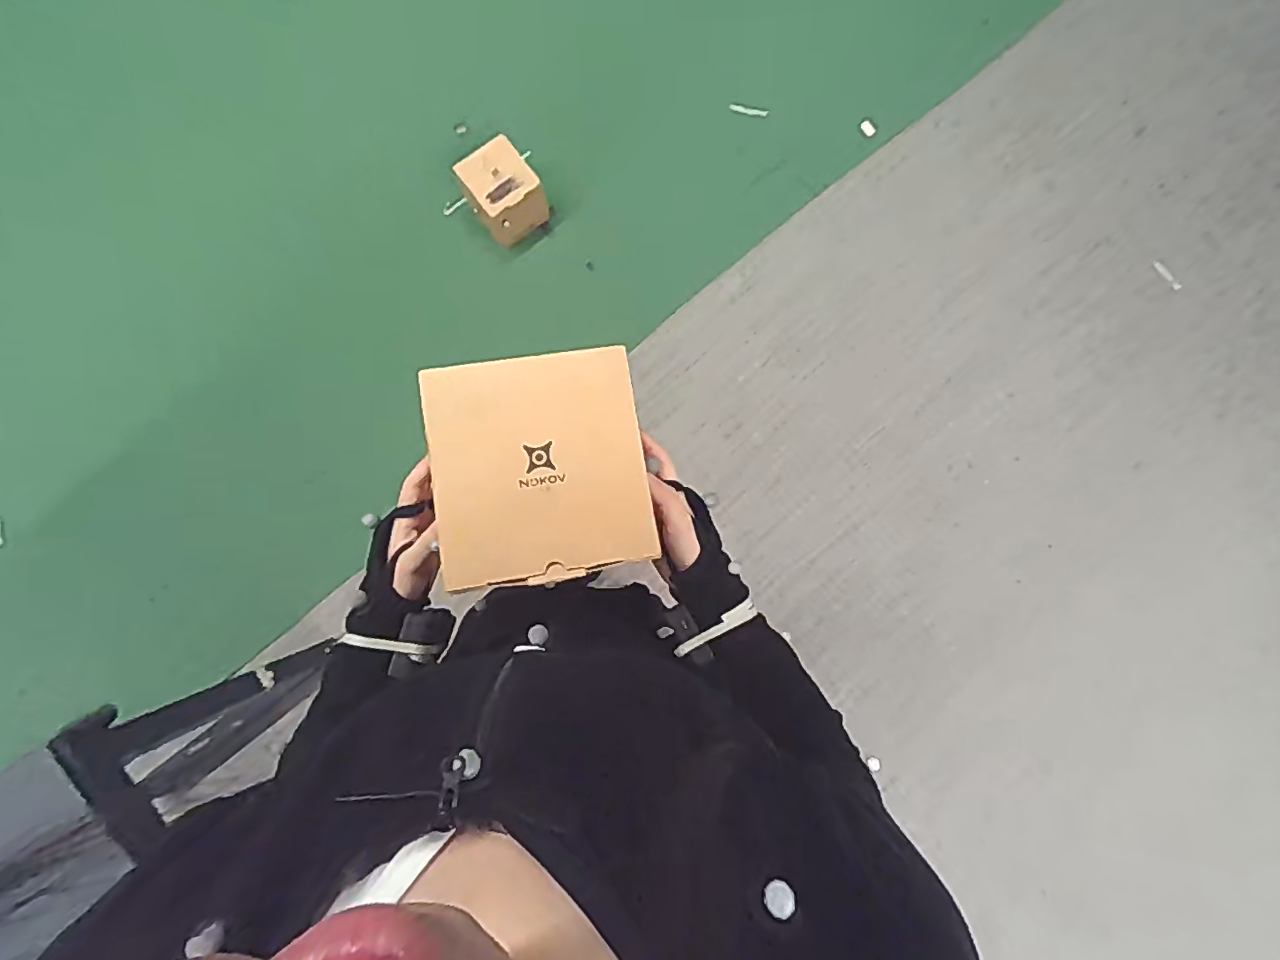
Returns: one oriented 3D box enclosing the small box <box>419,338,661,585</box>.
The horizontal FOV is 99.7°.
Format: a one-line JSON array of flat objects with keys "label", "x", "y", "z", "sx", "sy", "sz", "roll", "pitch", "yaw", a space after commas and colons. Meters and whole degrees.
[{"label": "small box", "x": -0.086, "y": -0.007, "z": 0.489, "sx": 0.168, "sy": 0.176, "sz": 0.179, "roll": -9, "pitch": 83, "yaw": -7}]
